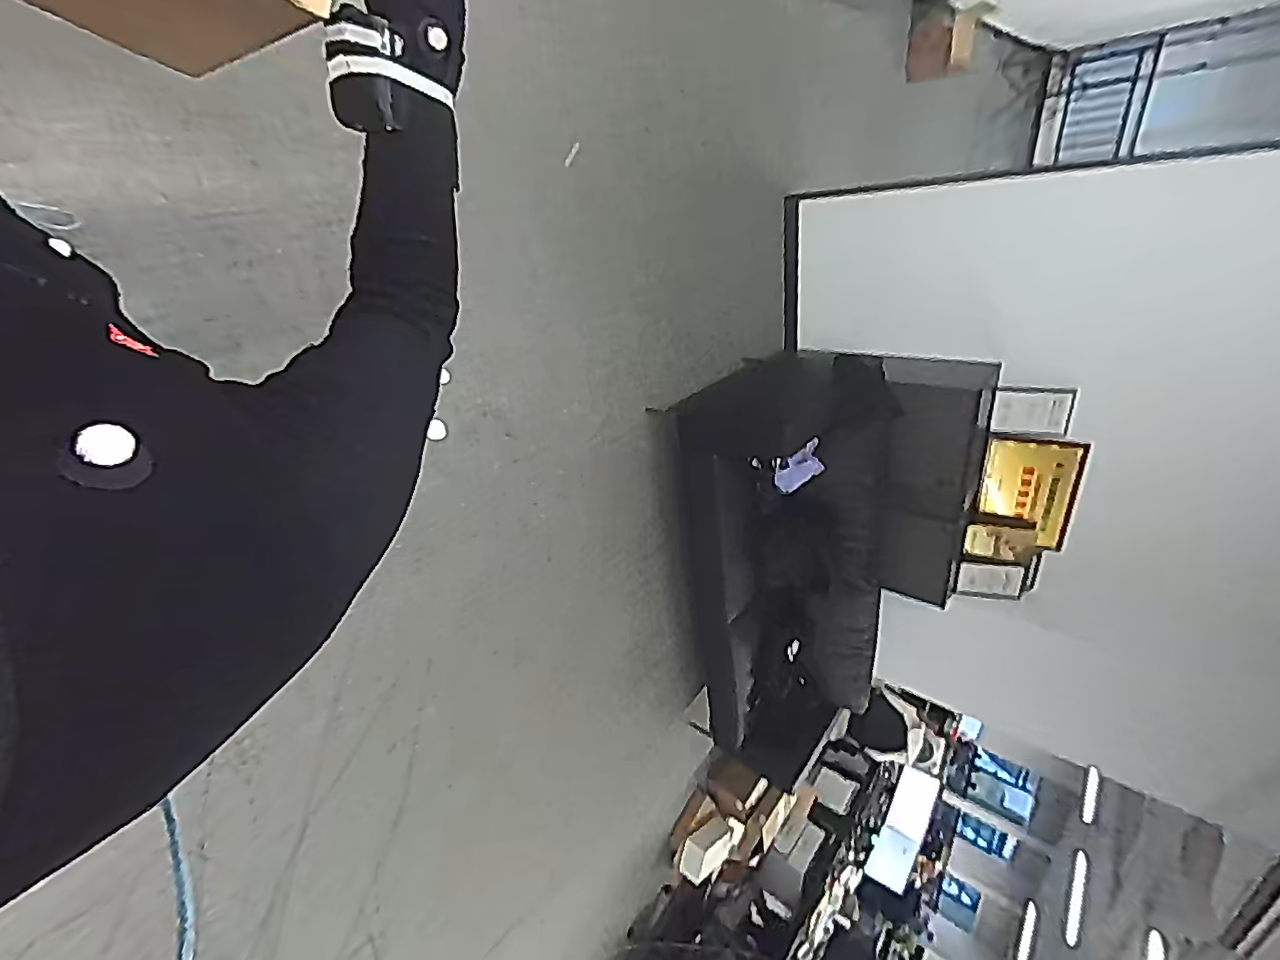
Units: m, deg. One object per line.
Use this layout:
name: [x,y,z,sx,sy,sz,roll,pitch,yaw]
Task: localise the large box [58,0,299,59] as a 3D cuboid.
large box: [-0.409,-0.494,0.251,0.408,0.320,0.320,-3,111,-51]
